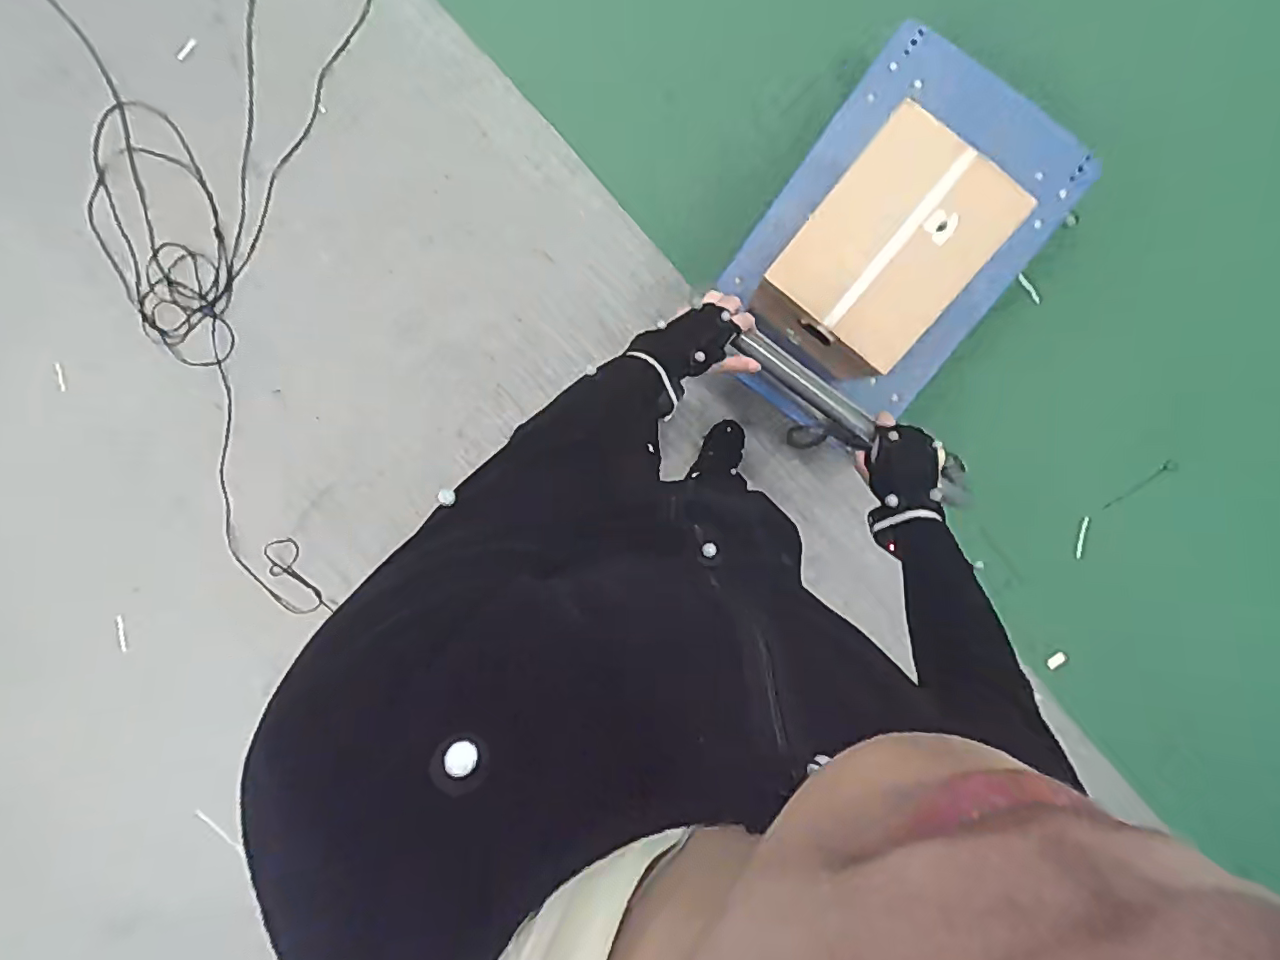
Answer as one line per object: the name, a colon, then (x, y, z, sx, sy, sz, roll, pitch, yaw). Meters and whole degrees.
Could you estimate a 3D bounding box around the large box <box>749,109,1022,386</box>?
large box: (0.491, -0.463, 1.183, 0.320, 0.320, 0.408, 39, 98, 0)
